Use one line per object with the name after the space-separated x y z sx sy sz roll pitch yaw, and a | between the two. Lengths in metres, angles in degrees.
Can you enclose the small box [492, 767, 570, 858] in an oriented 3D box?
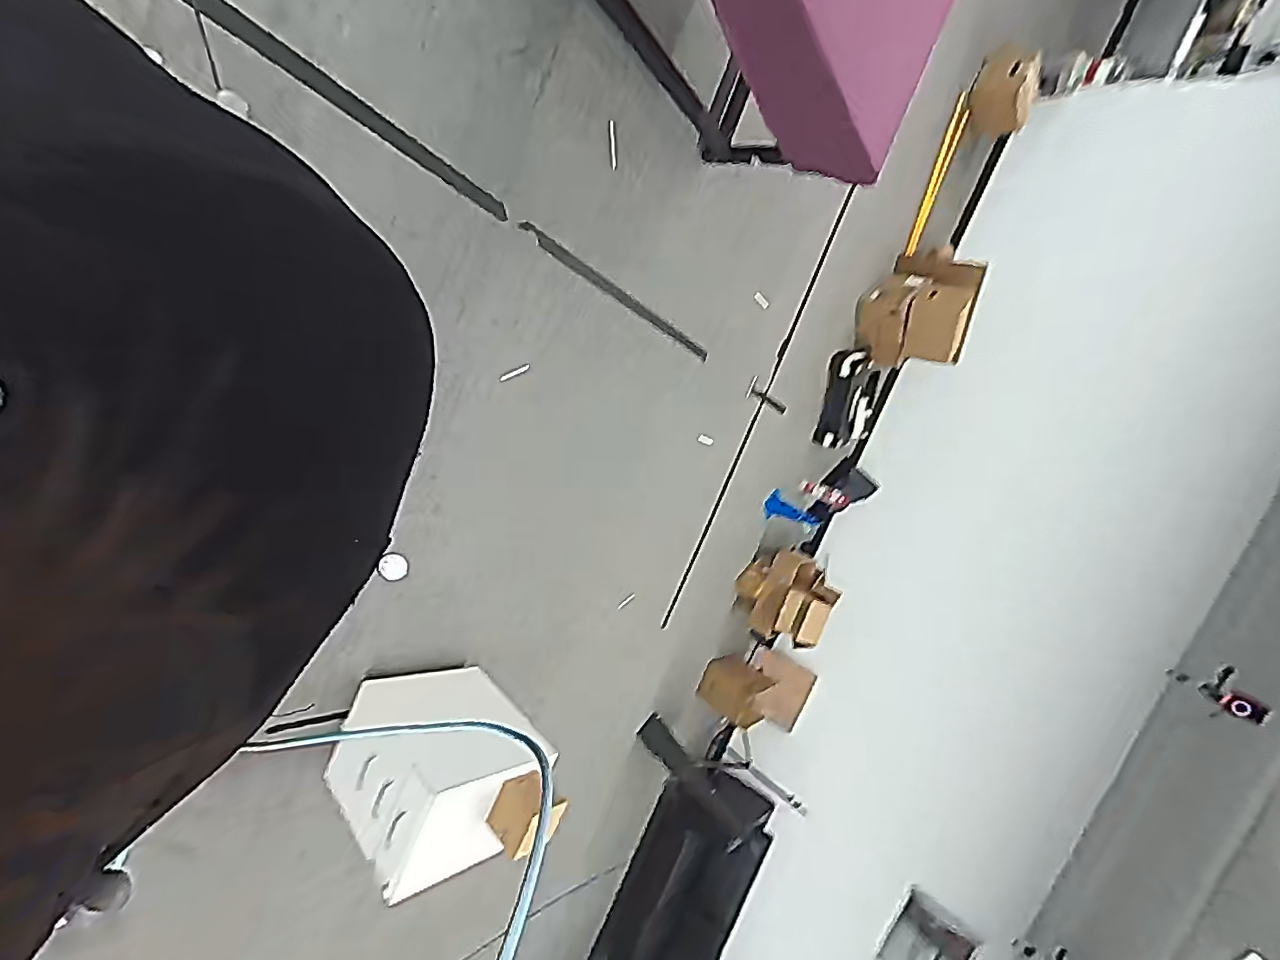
-0.377 1.124 1.840 0.168 0.176 0.179 17 99 -54 | small box
